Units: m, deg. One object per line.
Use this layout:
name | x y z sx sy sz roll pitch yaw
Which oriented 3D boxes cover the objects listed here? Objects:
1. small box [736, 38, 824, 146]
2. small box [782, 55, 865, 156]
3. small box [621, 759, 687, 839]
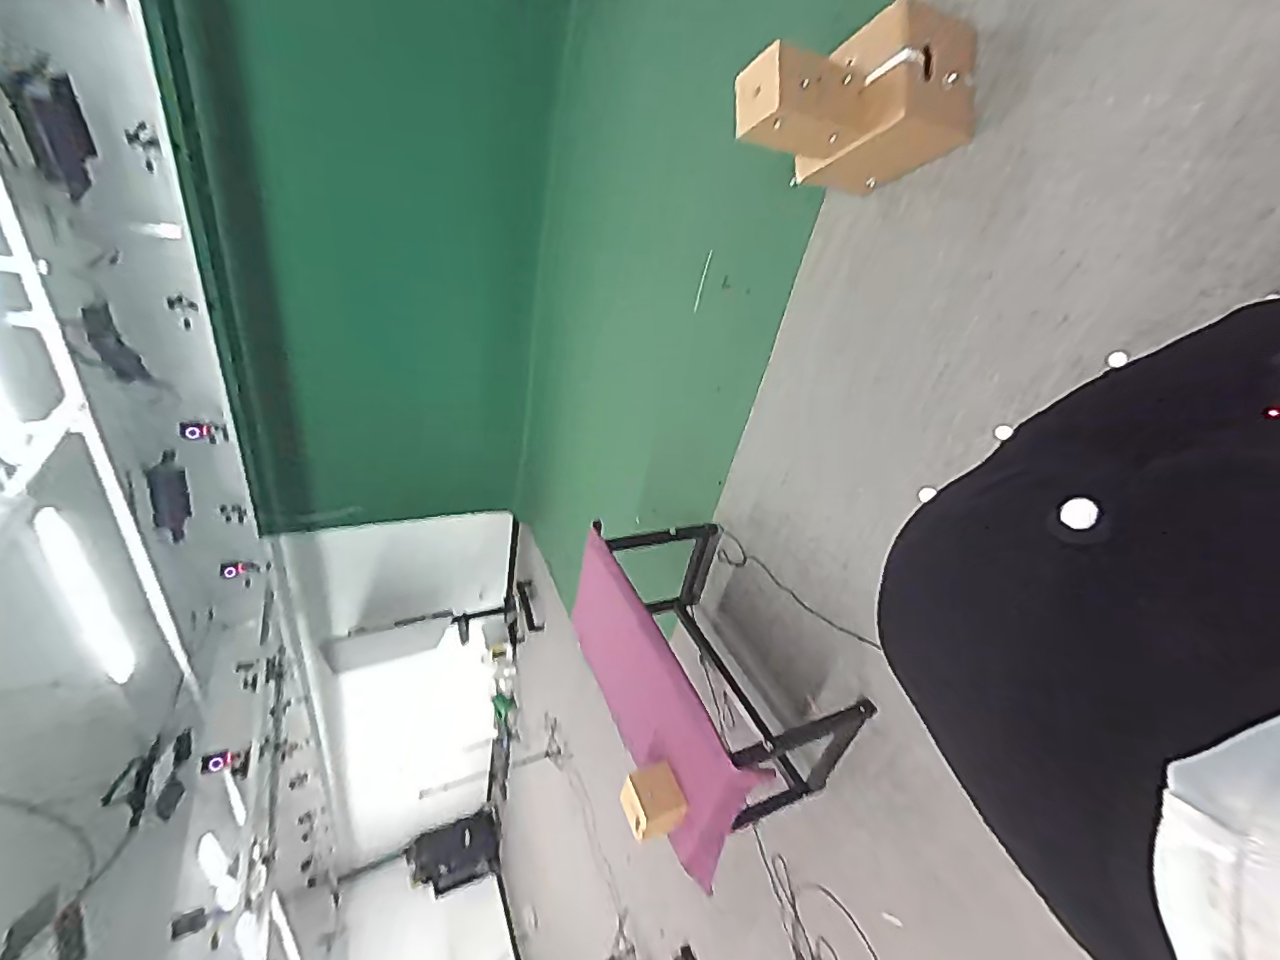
small box | 0.383 -1.052 1.482 0.179 0.176 0.168 11 104 61
small box | 0.528 -1.068 1.558 0.179 0.176 0.168 7 102 62
small box | 0.053 1.168 1.988 0.179 0.176 0.168 54 139 46
